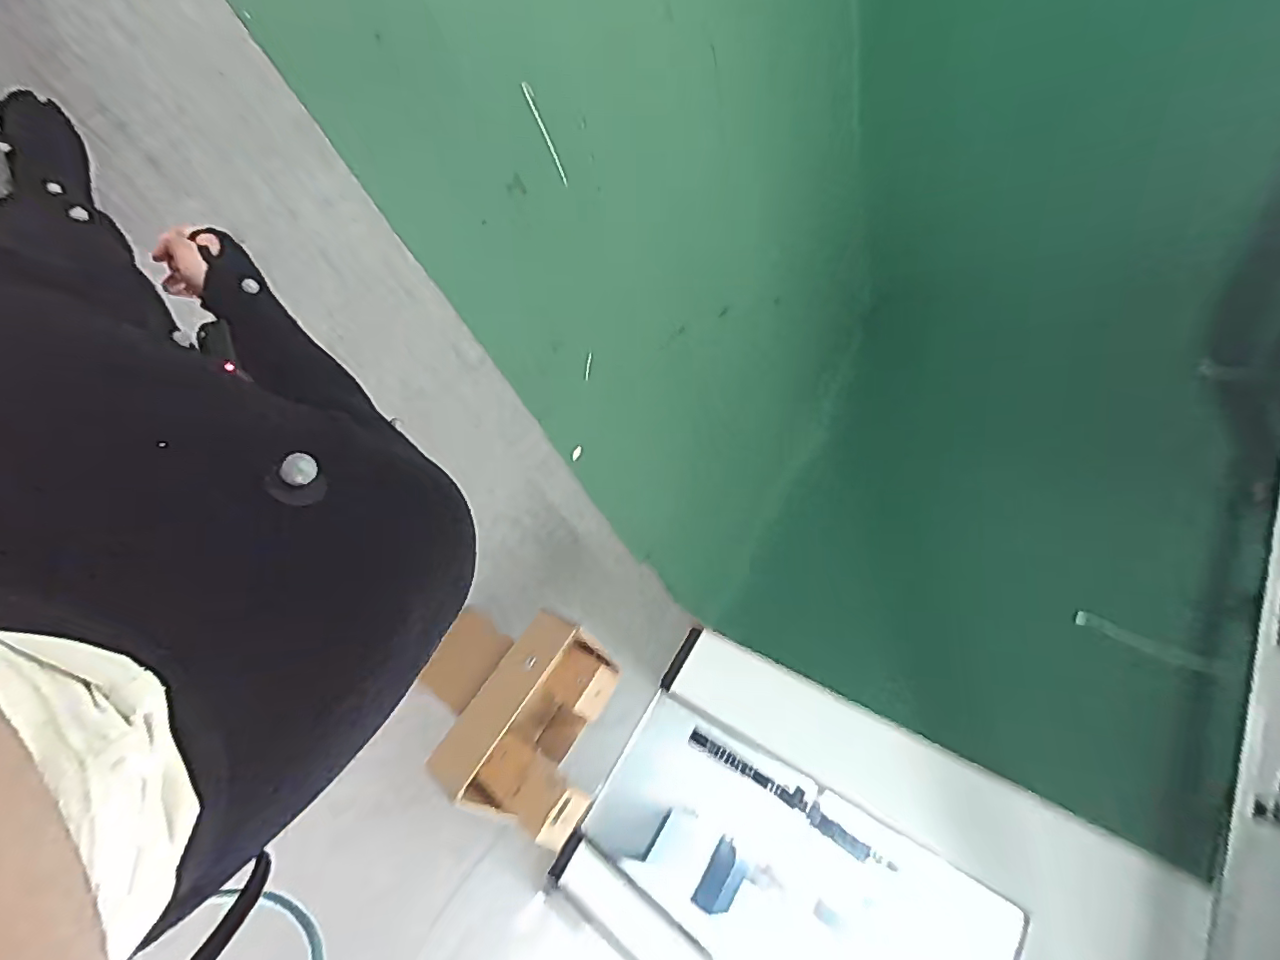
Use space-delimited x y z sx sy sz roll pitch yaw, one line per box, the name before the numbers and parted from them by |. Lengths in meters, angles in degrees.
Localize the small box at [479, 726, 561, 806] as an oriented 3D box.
small box | -0.408 0.973 1.847 0.168 0.176 0.179 -53 139 -21
